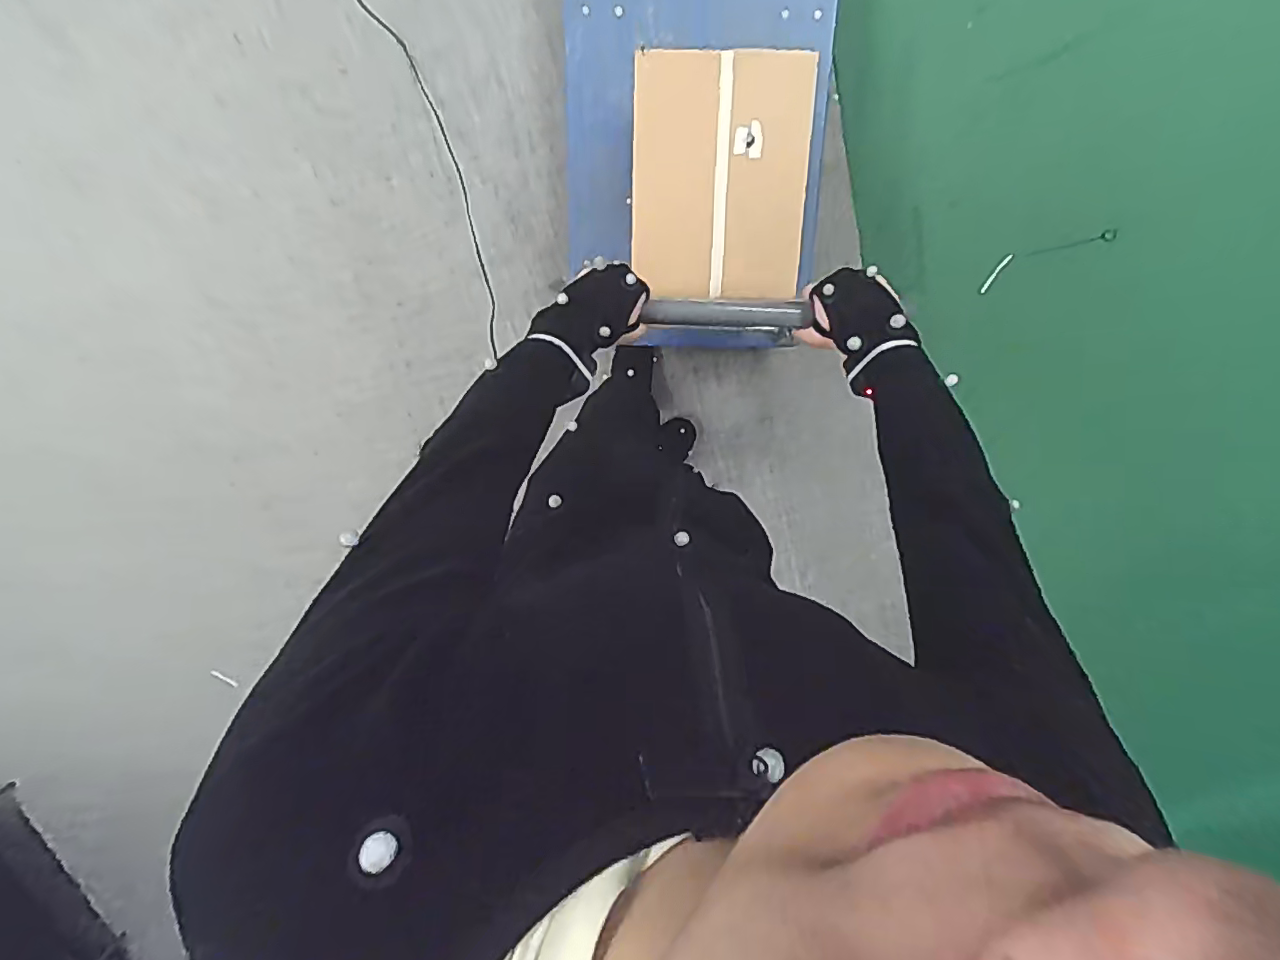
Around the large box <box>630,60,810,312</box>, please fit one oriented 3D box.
[{"bbox_3d":[0.141,-0.564,1.120,0.320,0.320,0.408,1,105,0],"label":"large box"}]
